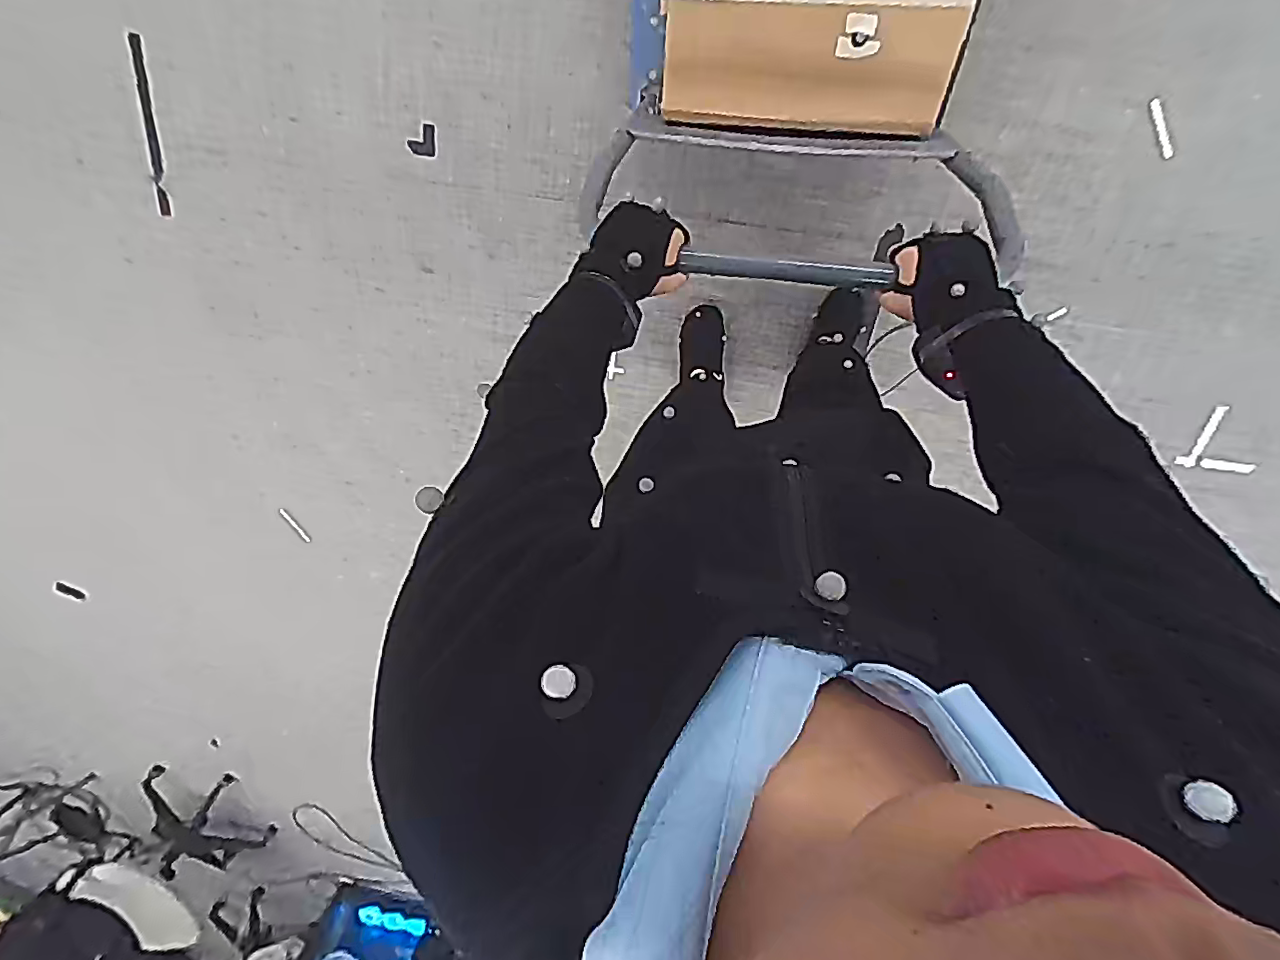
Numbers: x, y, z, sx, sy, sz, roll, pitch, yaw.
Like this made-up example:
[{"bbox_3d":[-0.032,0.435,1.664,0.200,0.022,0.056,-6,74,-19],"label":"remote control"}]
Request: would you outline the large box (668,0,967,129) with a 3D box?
[{"bbox_3d":[0.259,-0.758,0.847,0.408,0.320,0.320,6,131,5],"label":"large box"}]
